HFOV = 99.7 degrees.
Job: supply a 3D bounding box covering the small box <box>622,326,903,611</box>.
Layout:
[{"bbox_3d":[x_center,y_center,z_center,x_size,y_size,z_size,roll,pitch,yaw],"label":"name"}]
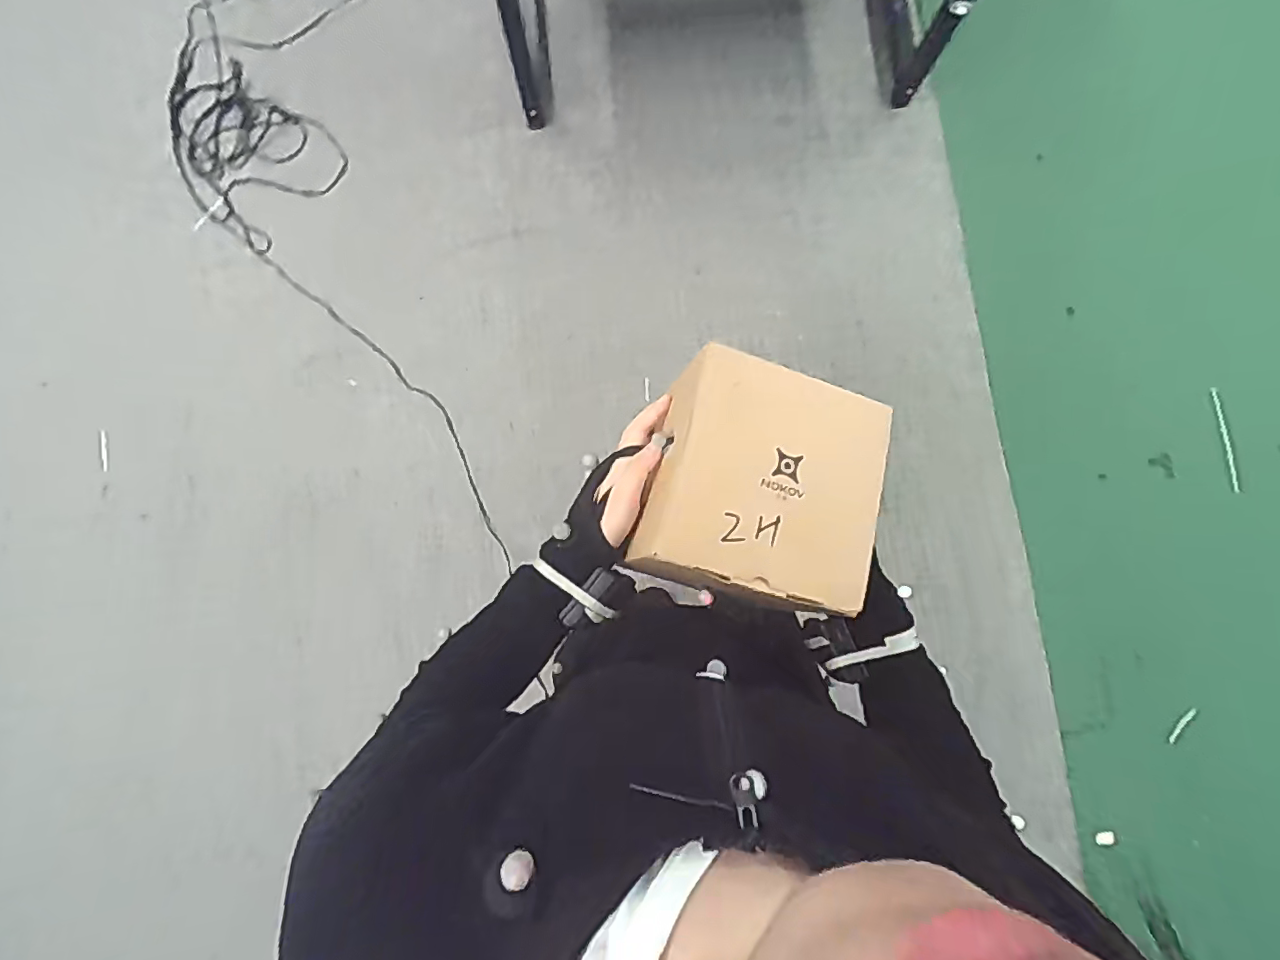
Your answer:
[{"bbox_3d":[0.092,0.005,0.468,0.168,0.176,0.179,17,76,-9],"label":"small box"}]
